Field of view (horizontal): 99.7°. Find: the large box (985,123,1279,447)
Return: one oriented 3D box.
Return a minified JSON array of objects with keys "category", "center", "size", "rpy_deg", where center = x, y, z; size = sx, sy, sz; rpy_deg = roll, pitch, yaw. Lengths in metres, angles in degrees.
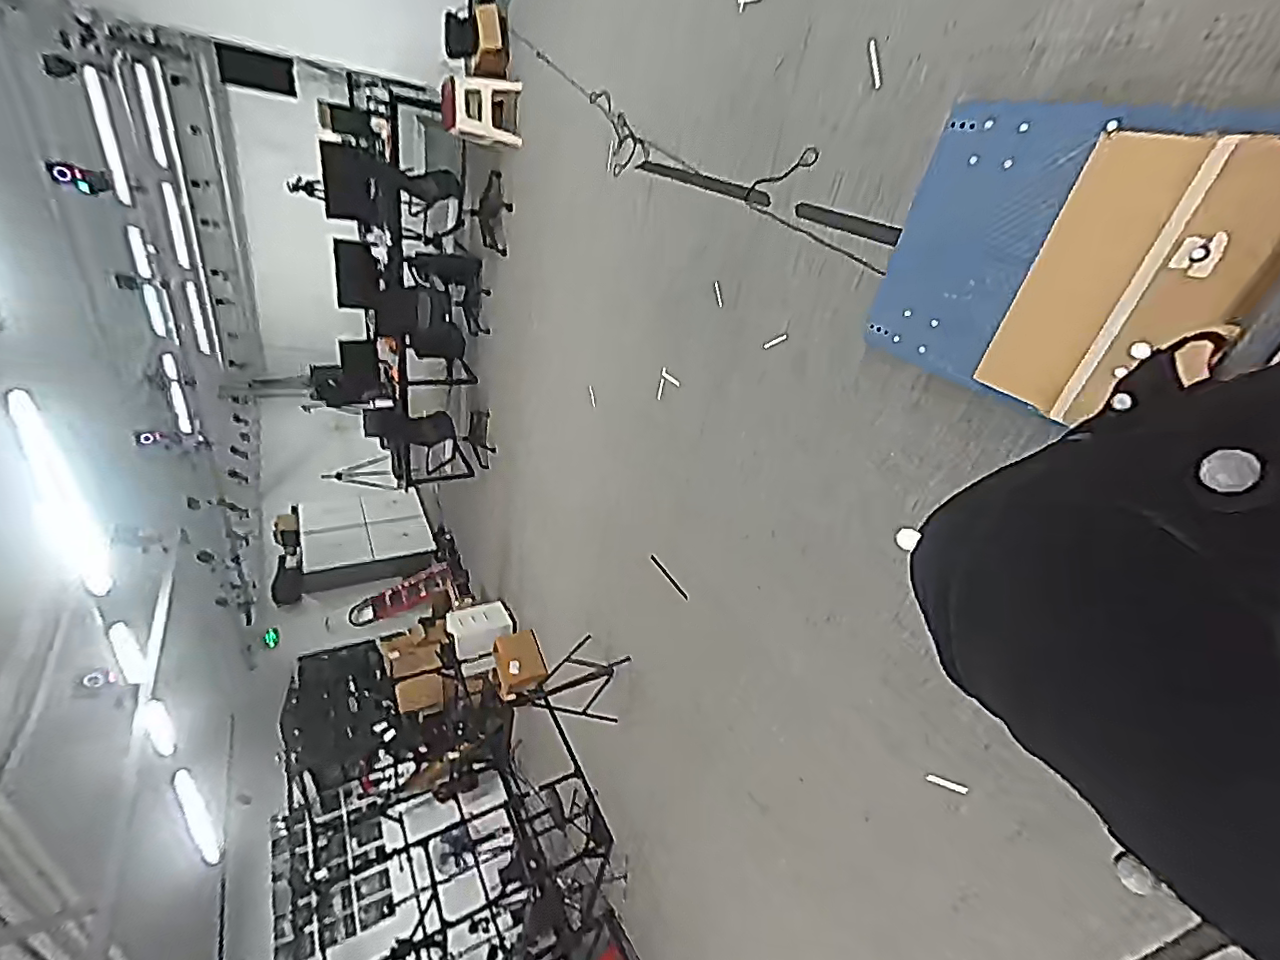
[{"category":"large box","center":[0.876,-0.307,0.881],"size":[0.320,0.320,0.408],"rpy_deg":[46,134,43]}]
